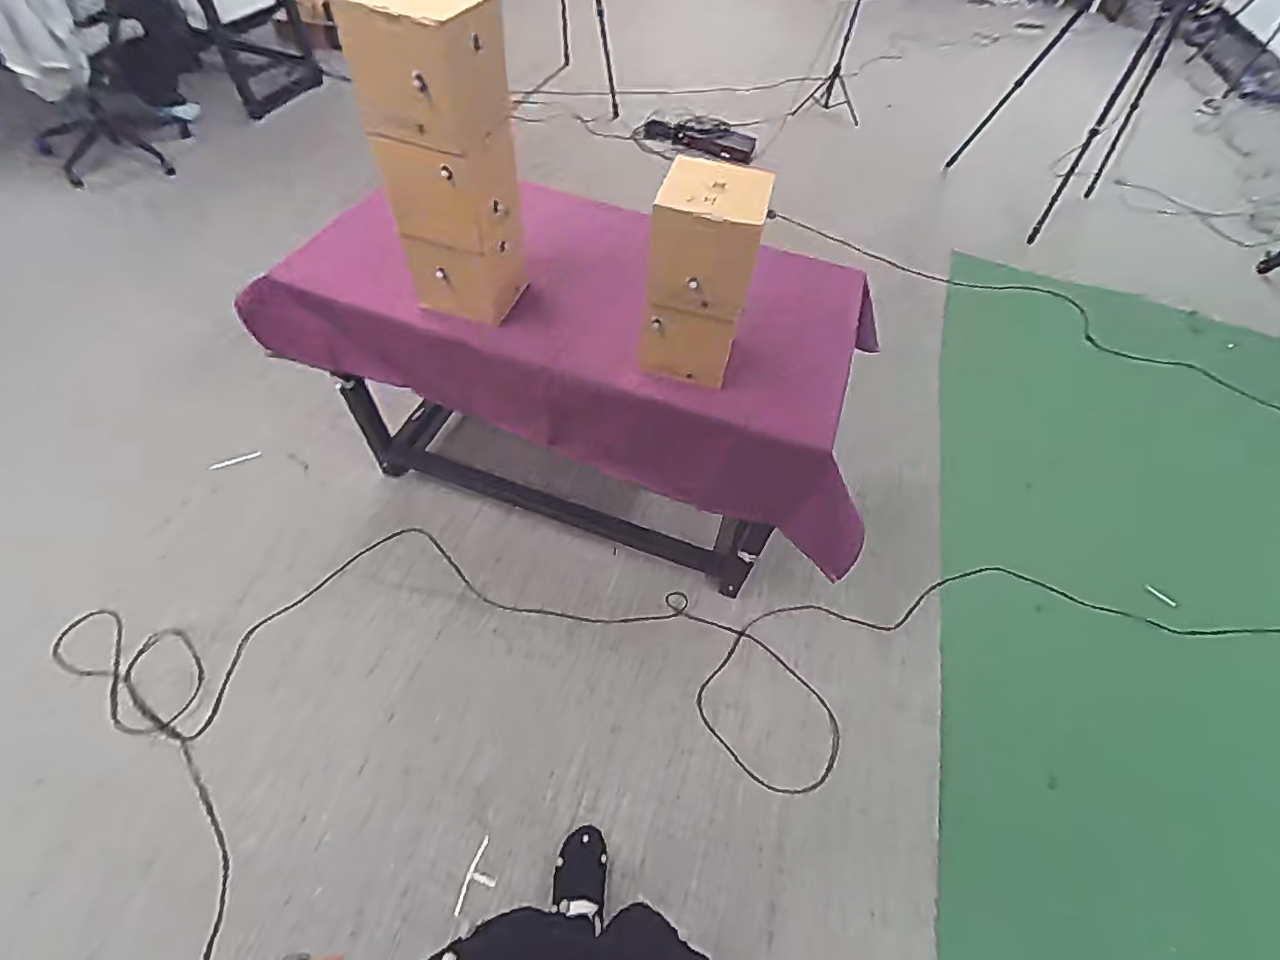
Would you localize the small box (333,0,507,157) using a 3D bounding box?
[{"bbox_3d":[-0.314,-0.623,0.822,0.168,0.176,0.179,19,54,6],"label":"small box"}]

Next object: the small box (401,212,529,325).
[{"bbox_3d":[-0.339,-0.437,1.087,0.179,0.176,0.168,16,55,6],"label":"small box"}]

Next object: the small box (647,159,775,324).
[{"bbox_3d":[0.112,-0.391,0.892,0.168,0.176,0.179,15,54,6],"label":"small box"}]

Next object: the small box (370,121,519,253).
[{"bbox_3d":[-0.330,-0.527,0.952,0.179,0.176,0.168,17,54,5],"label":"small box"}]
